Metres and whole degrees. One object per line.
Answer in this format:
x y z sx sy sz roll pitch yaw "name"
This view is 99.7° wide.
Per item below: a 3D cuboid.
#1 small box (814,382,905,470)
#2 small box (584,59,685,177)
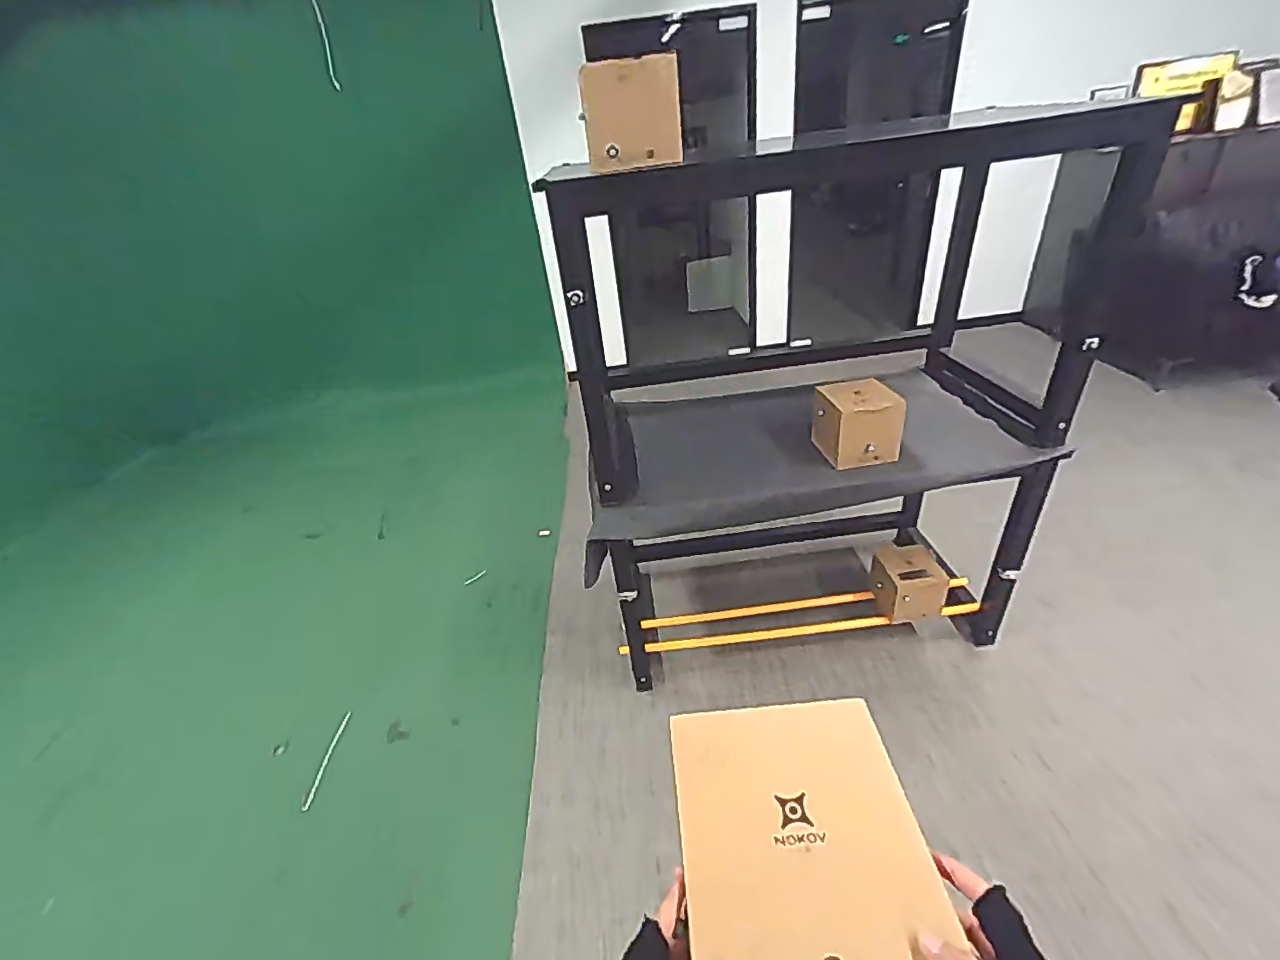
0.573 -0.145 1.439 0.168 0.176 0.179 -9 31 -2 "small box"
-0.011 -0.698 1.057 0.168 0.176 0.179 -9 31 -4 "small box"
